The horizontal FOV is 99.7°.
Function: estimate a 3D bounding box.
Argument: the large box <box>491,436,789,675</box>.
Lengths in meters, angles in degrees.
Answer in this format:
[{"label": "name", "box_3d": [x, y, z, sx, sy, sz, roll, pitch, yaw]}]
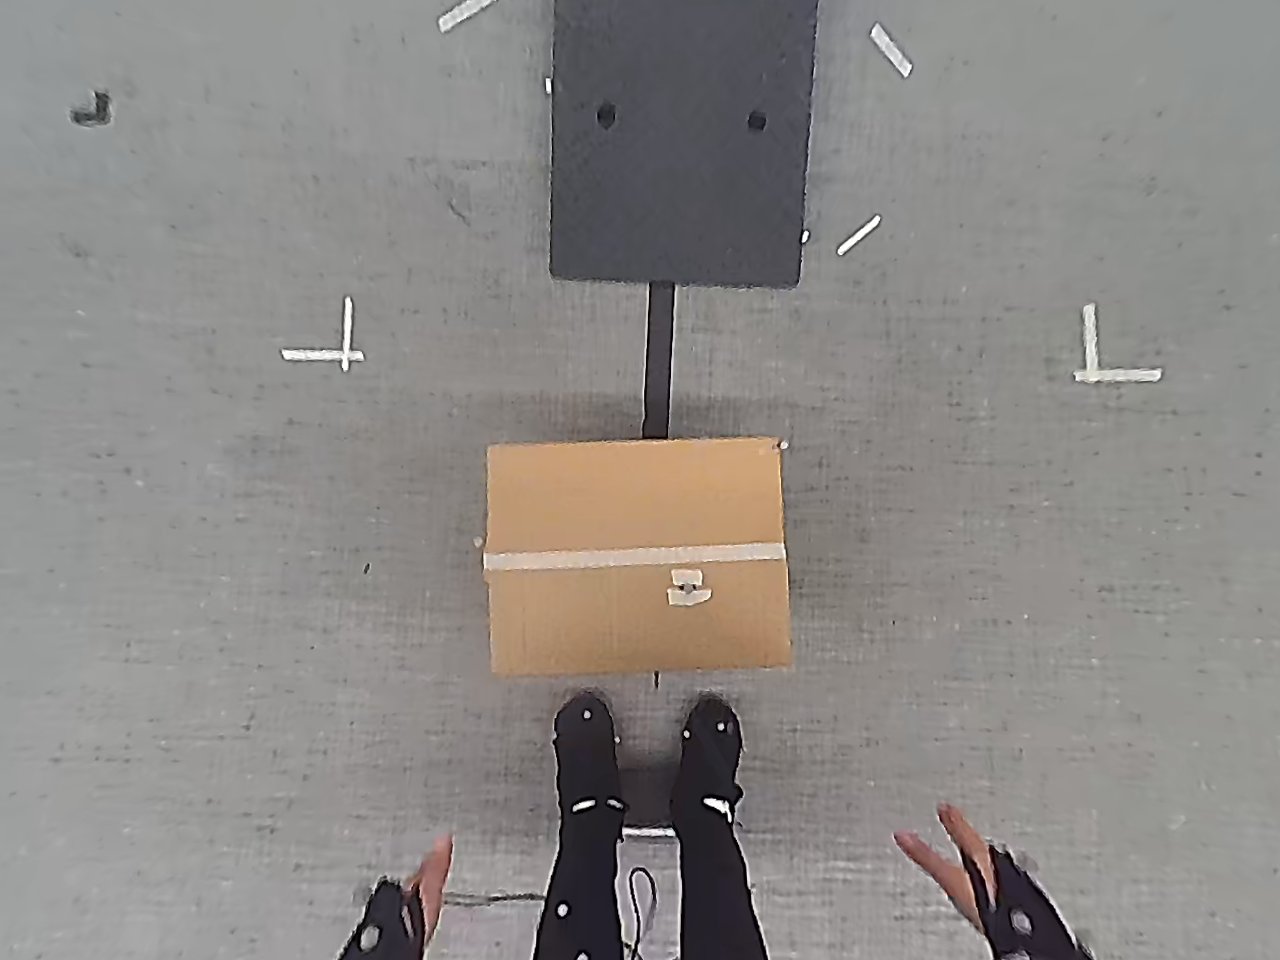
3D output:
[{"label": "large box", "box_3d": [-0.007, 0.111, 0.886, 0.408, 0.320, 0.320, -2, 87, -2]}]

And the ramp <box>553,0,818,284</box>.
[{"label": "ramp", "box_3d": [0.089, -0.888, 1.004, 0.509, 0.206, 0.991, 0, 87, -2]}]
